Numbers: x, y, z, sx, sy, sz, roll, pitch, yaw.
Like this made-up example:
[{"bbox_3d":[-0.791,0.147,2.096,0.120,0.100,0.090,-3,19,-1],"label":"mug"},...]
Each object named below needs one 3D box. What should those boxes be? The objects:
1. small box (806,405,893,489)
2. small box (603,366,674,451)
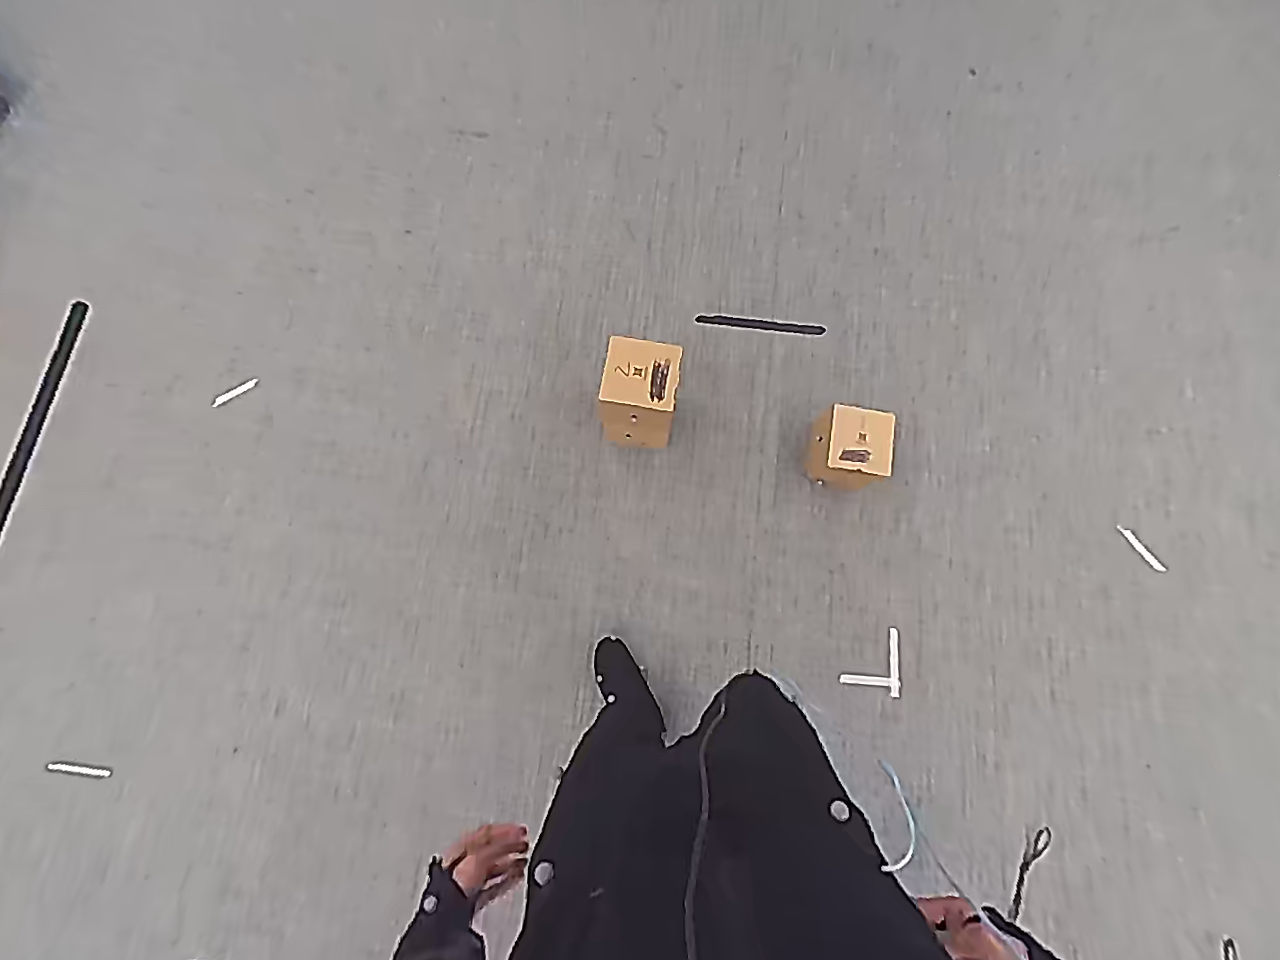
[{"bbox_3d":[0.562,-0.083,1.469,0.168,0.176,0.179,11,77,0],"label":"small box"},{"bbox_3d":[-0.002,-0.189,1.481,0.168,0.176,0.179,9,77,1],"label":"small box"}]
